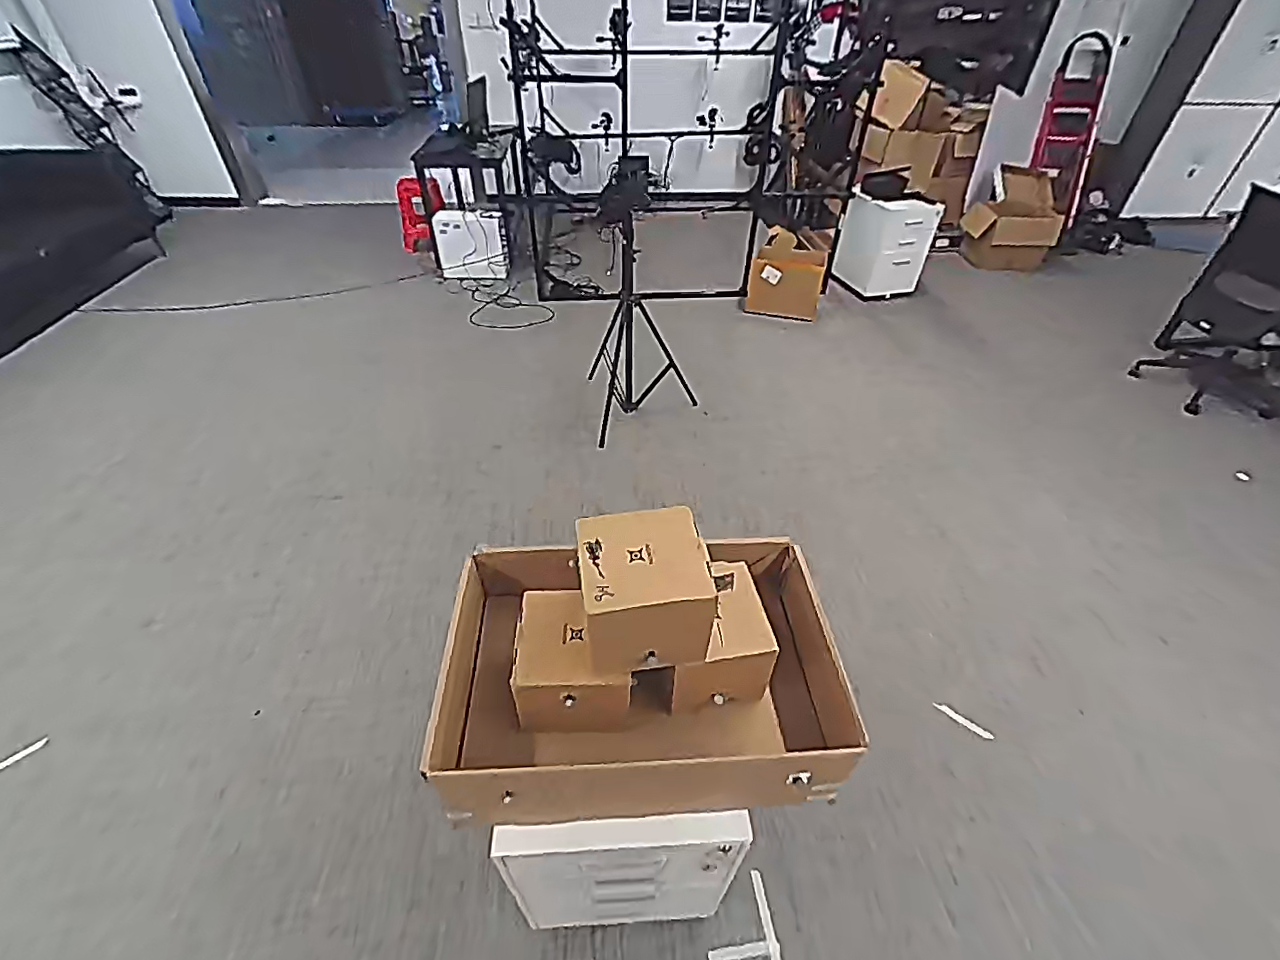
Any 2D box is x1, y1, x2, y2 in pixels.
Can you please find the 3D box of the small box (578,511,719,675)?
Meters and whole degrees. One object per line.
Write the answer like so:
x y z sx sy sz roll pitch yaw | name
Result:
0.002 0.167 0.802 0.179 0.176 0.168 -5 43 -8 | small box
